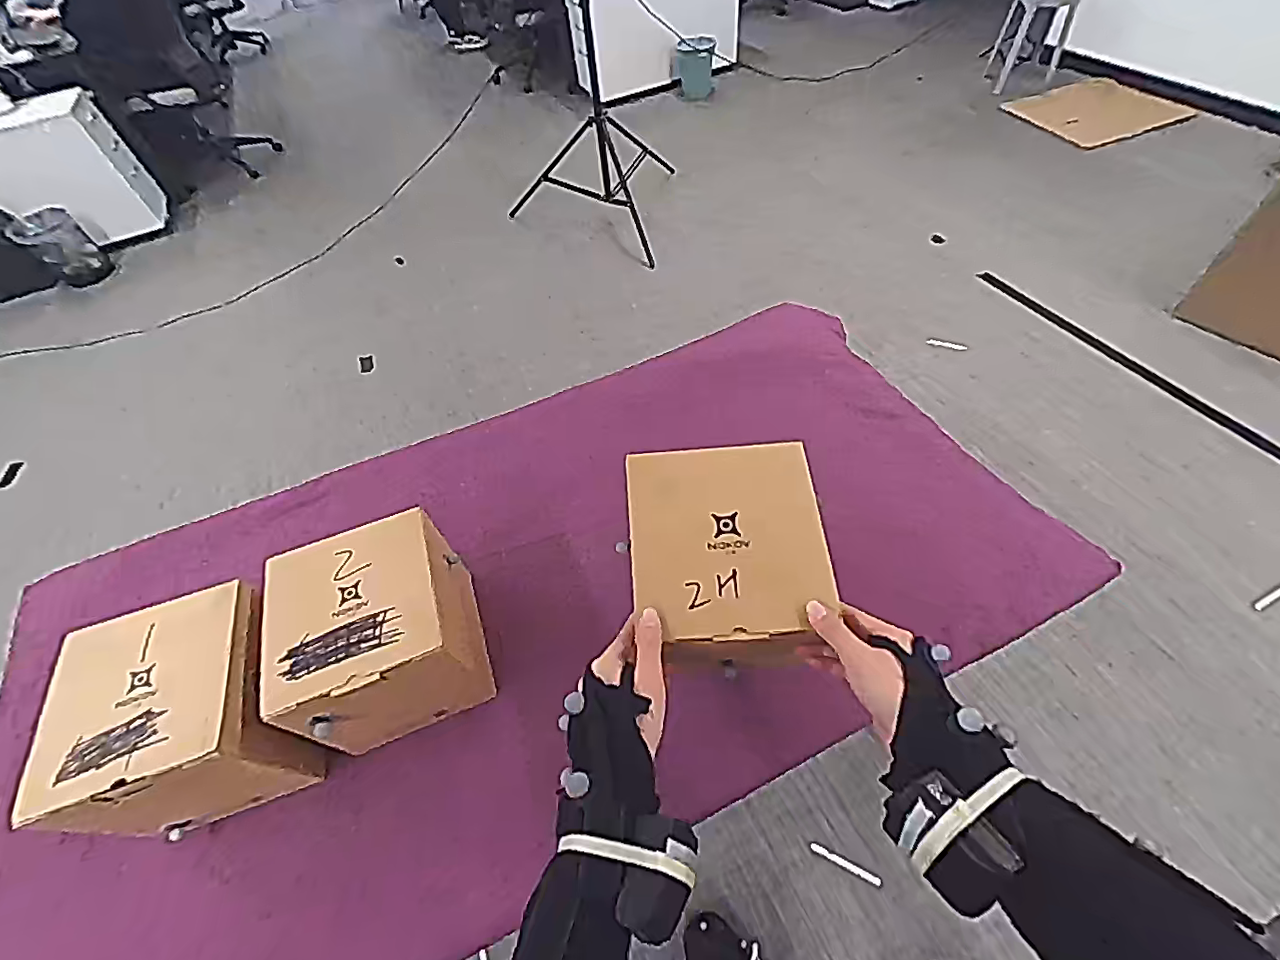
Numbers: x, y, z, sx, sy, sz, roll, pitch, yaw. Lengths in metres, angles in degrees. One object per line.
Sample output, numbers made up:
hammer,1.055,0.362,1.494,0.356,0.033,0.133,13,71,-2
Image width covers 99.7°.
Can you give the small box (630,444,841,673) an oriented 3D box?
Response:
small box,0.077,0.084,0.534,0.168,0.176,0.179,-4,63,2
